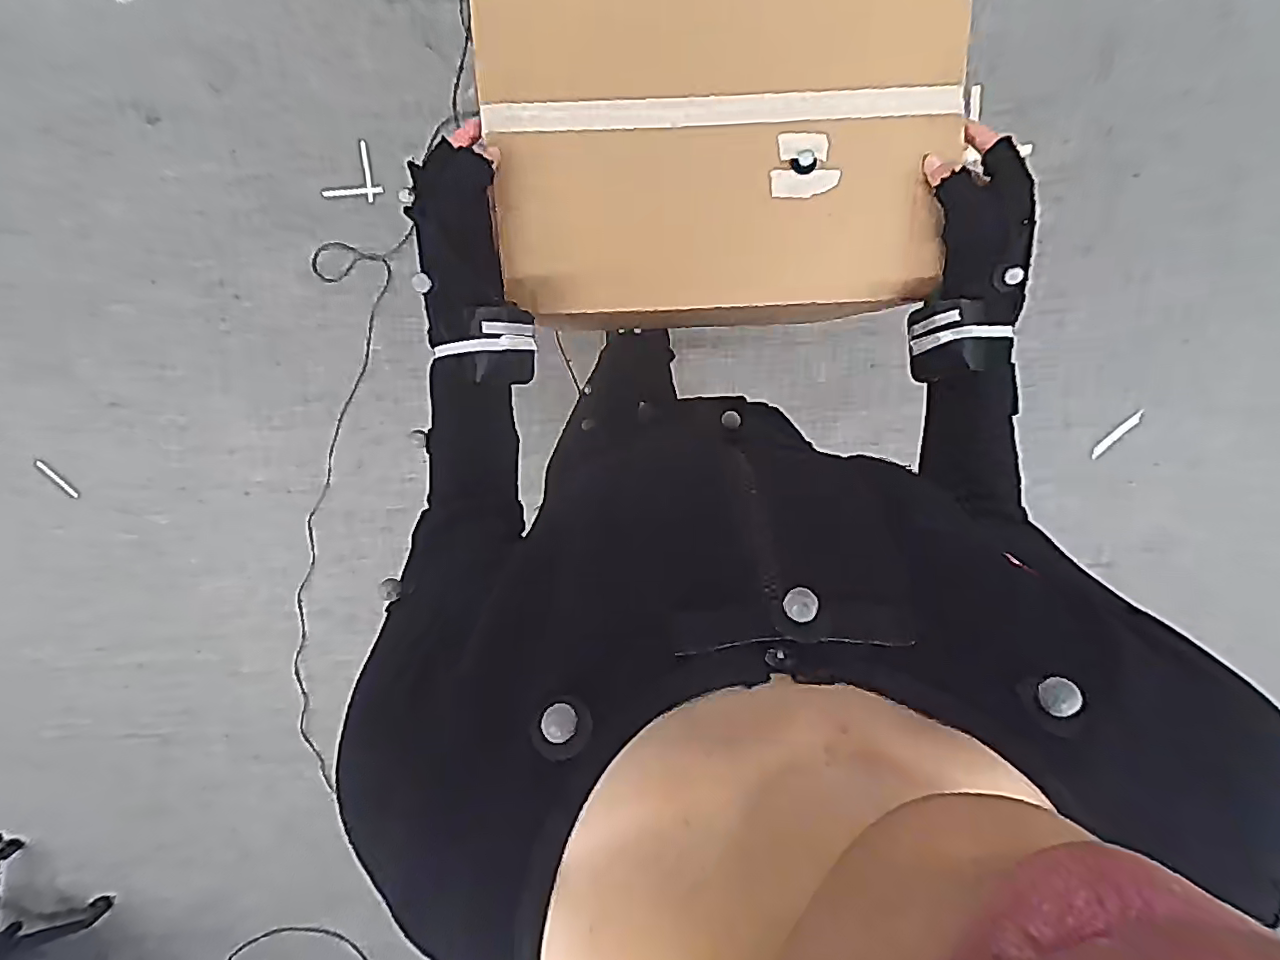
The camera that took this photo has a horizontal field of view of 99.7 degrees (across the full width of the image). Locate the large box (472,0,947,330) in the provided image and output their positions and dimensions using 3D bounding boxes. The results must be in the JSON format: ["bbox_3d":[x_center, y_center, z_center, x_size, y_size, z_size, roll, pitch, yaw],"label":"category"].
[{"bbox_3d":[0.058,-0.350,0.613,0.408,0.320,0.320,-3,102,-1],"label":"large box"}]
